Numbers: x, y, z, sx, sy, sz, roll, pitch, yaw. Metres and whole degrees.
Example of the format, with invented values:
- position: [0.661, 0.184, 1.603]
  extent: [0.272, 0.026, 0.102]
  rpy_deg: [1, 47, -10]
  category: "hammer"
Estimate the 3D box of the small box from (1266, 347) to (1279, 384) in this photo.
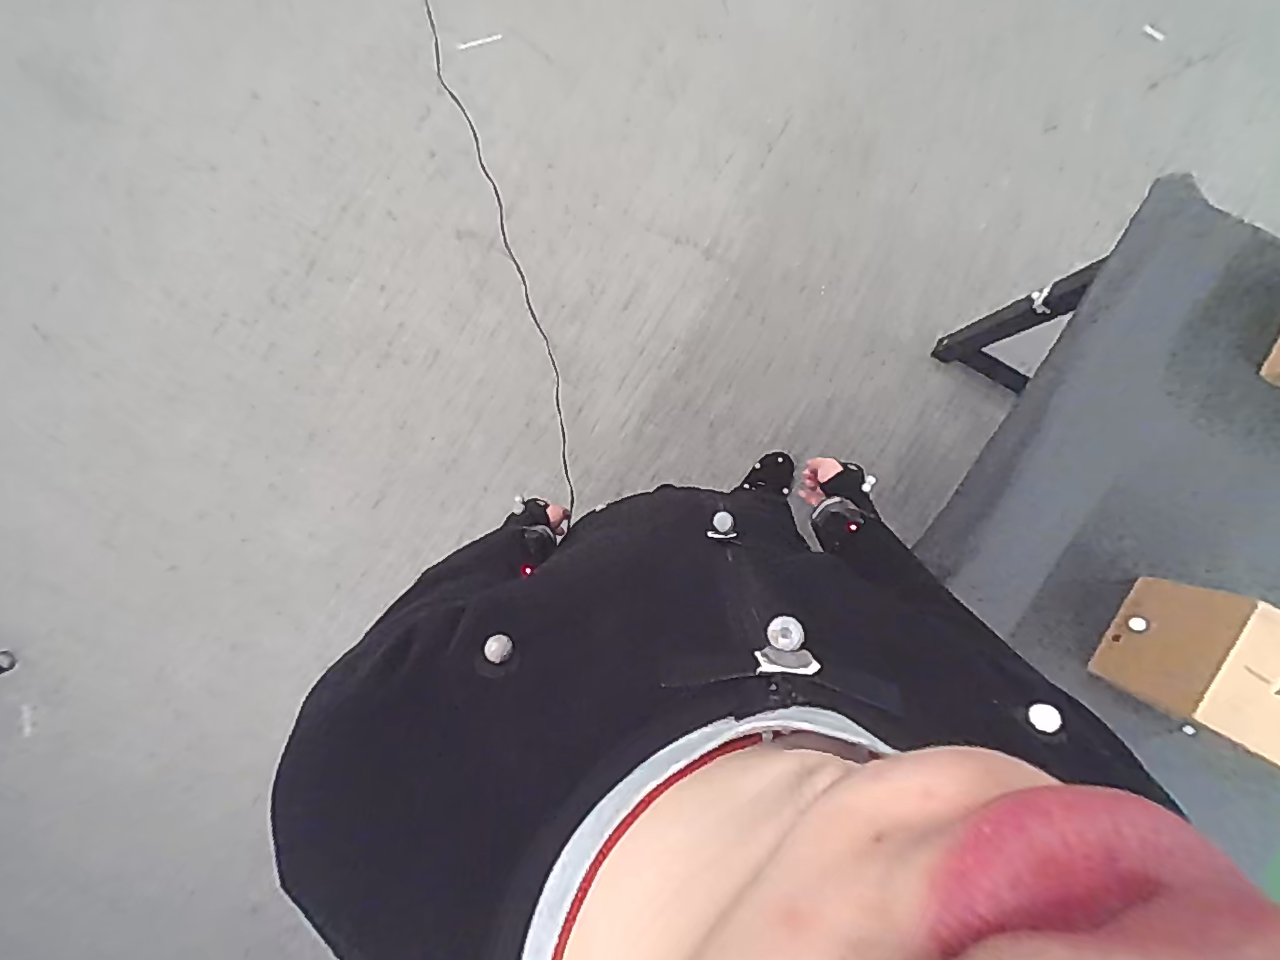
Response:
- position: [1.015, -0.181, 0.707]
  extent: [0.179, 0.176, 0.168]
  rpy_deg: [28, 93, 2]
  category: "small box"

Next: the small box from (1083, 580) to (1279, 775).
- position: [0.768, 0.253, 0.725]
  extent: [0.179, 0.176, 0.168]
  rpy_deg: [30, 92, 2]
  category: "small box"
